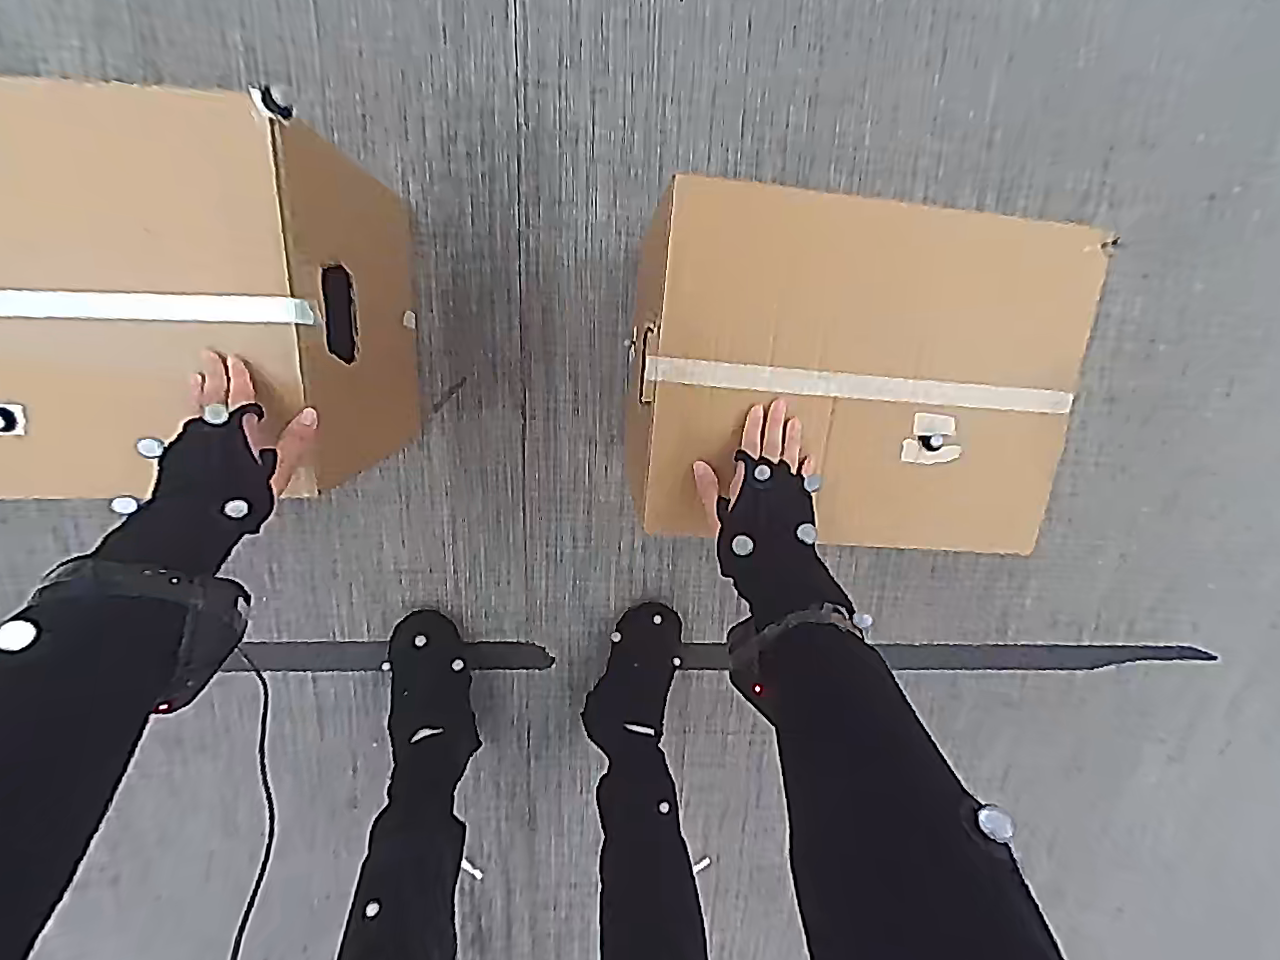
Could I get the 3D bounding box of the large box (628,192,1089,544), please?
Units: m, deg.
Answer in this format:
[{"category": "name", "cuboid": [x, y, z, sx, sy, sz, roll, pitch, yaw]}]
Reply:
[{"category": "large box", "cuboid": [0.202, -0.122, 0.663, 0.408, 0.320, 0.320, 4, 103, -7]}]
